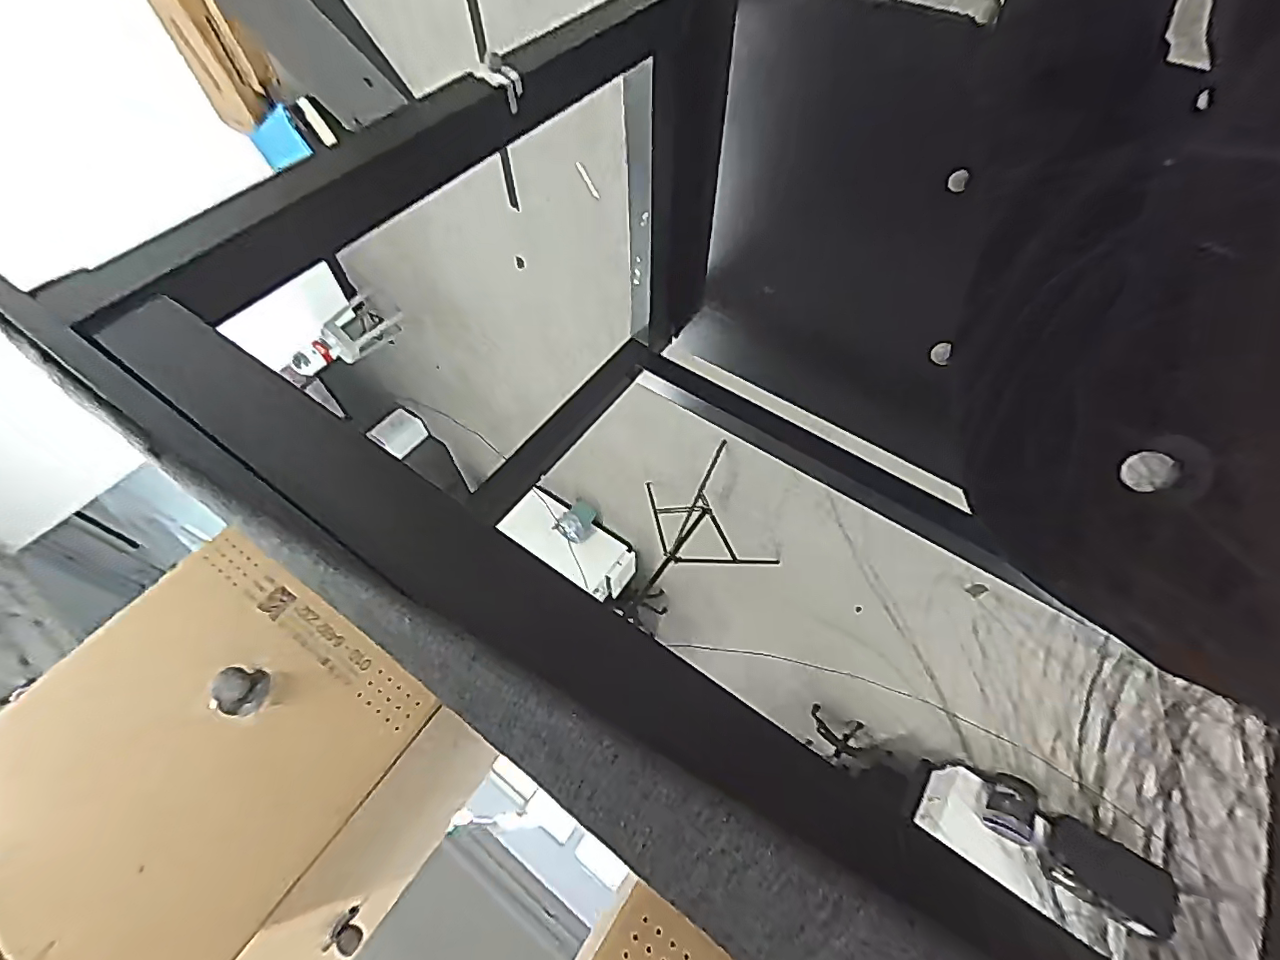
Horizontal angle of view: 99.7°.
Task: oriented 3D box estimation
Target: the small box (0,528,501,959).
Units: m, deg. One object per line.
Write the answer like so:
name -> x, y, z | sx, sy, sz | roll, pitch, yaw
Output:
small box -> -0.206, 0.160, 0.318 | 0.168, 0.176, 0.179 | 31, 154, 17

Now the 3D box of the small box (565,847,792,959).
small box -> 0.018, 0.296, 0.232 | 0.168, 0.176, 0.179 | 32, 156, 18
